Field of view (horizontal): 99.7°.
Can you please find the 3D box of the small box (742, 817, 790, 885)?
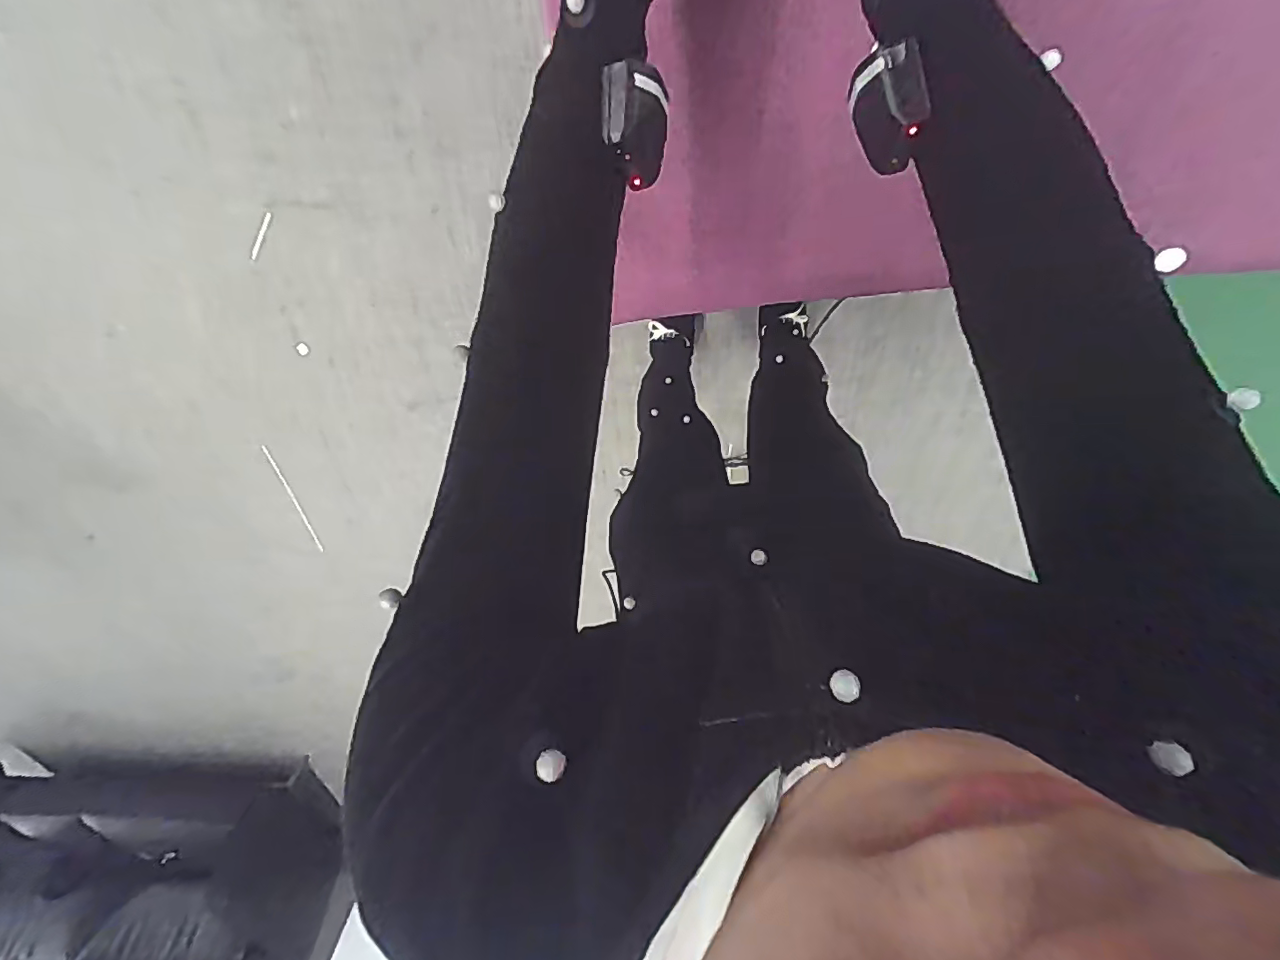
[{"bbox_3d":[0.480,1.412,2.047,0.168,0.176,0.179,2,123,4],"label":"small box"}]
